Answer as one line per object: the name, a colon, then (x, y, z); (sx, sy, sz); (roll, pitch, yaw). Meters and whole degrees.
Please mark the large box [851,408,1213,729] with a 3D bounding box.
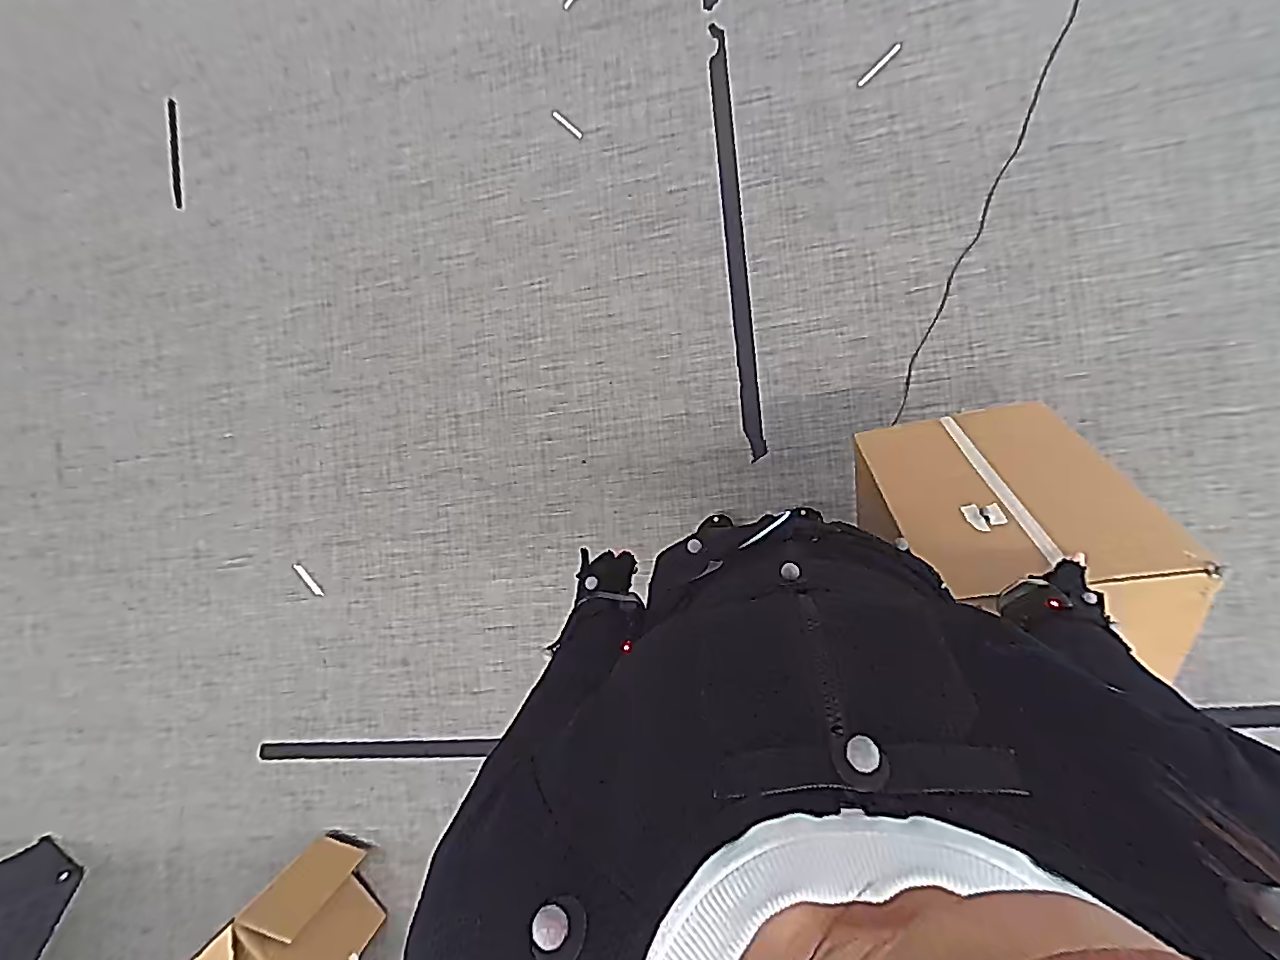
large box: (0.560, 0.135, 0.890); (0.320, 0.408, 0.320); (-11, 126, 12)
